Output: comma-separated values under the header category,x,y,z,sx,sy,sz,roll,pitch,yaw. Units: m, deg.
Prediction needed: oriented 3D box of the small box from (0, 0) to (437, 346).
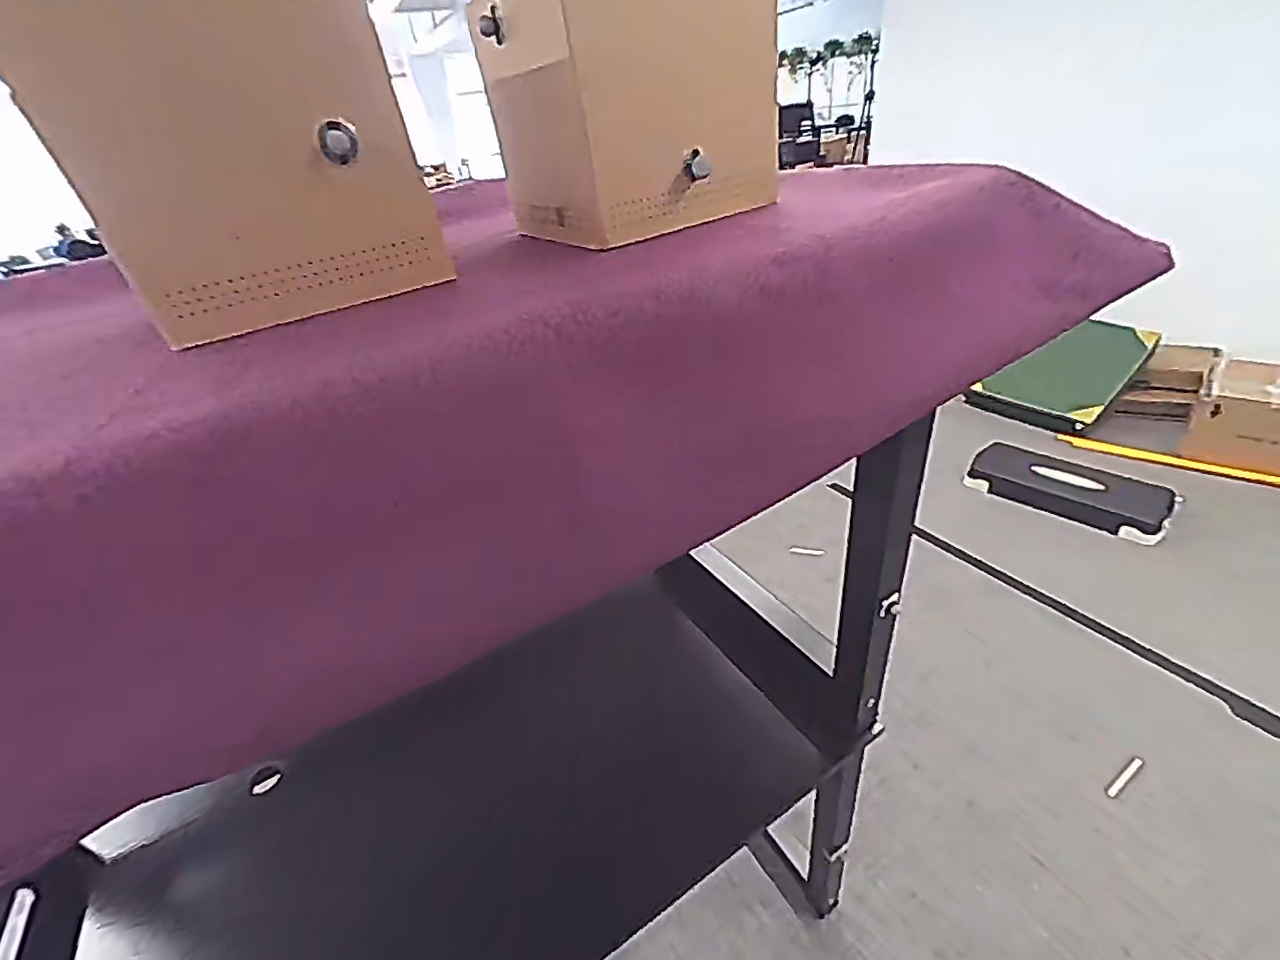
category,x,y,z,sx,sy,sz,roll,pitch,yaw
small box,-0.254,-0.209,0.363,0.179,0.176,0.168,-25,36,-21

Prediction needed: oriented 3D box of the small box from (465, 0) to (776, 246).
category,x,y,z,sx,sy,sz,roll,pitch,yaw
small box,-0.012,-0.300,0.433,0.179,0.176,0.168,-26,36,-23
